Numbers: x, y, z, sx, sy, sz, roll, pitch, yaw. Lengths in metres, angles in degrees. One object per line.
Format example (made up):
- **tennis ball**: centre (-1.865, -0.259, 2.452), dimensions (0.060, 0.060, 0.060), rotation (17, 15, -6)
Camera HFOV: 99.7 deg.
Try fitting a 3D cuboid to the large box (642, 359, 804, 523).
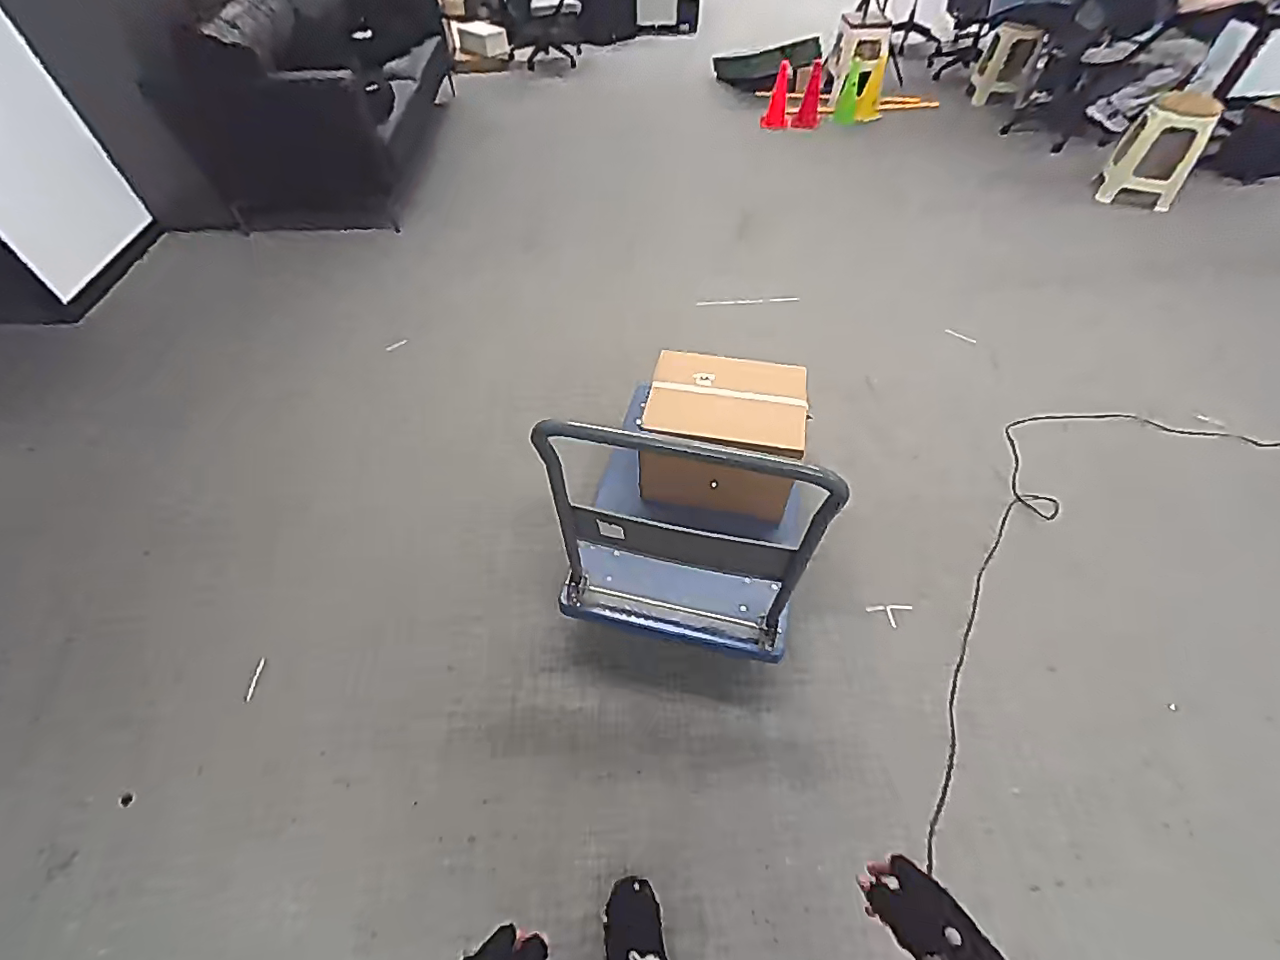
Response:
- **large box**: centre (0.232, -0.108, 1.531), dimensions (0.408, 0.320, 0.320), rotation (8, 51, 8)
